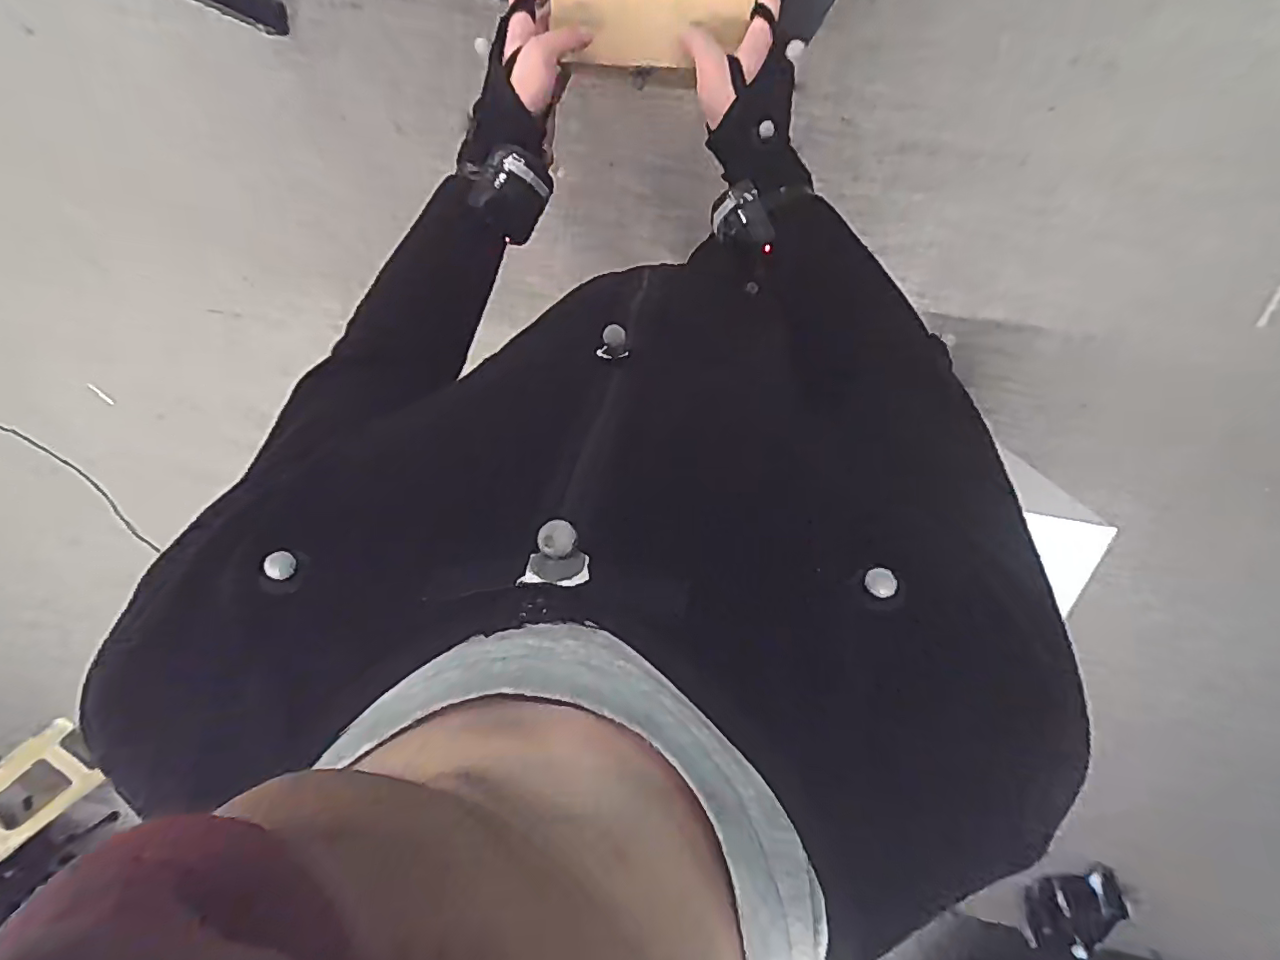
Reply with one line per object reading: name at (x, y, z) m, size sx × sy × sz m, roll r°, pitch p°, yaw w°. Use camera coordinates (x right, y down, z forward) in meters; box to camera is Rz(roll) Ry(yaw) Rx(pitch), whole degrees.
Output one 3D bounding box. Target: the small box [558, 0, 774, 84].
small box at (0.029, -0.466, 0.480) m, size 0.179 × 0.176 × 0.168 m, roll 4°, pitch 120°, yaw 2°
